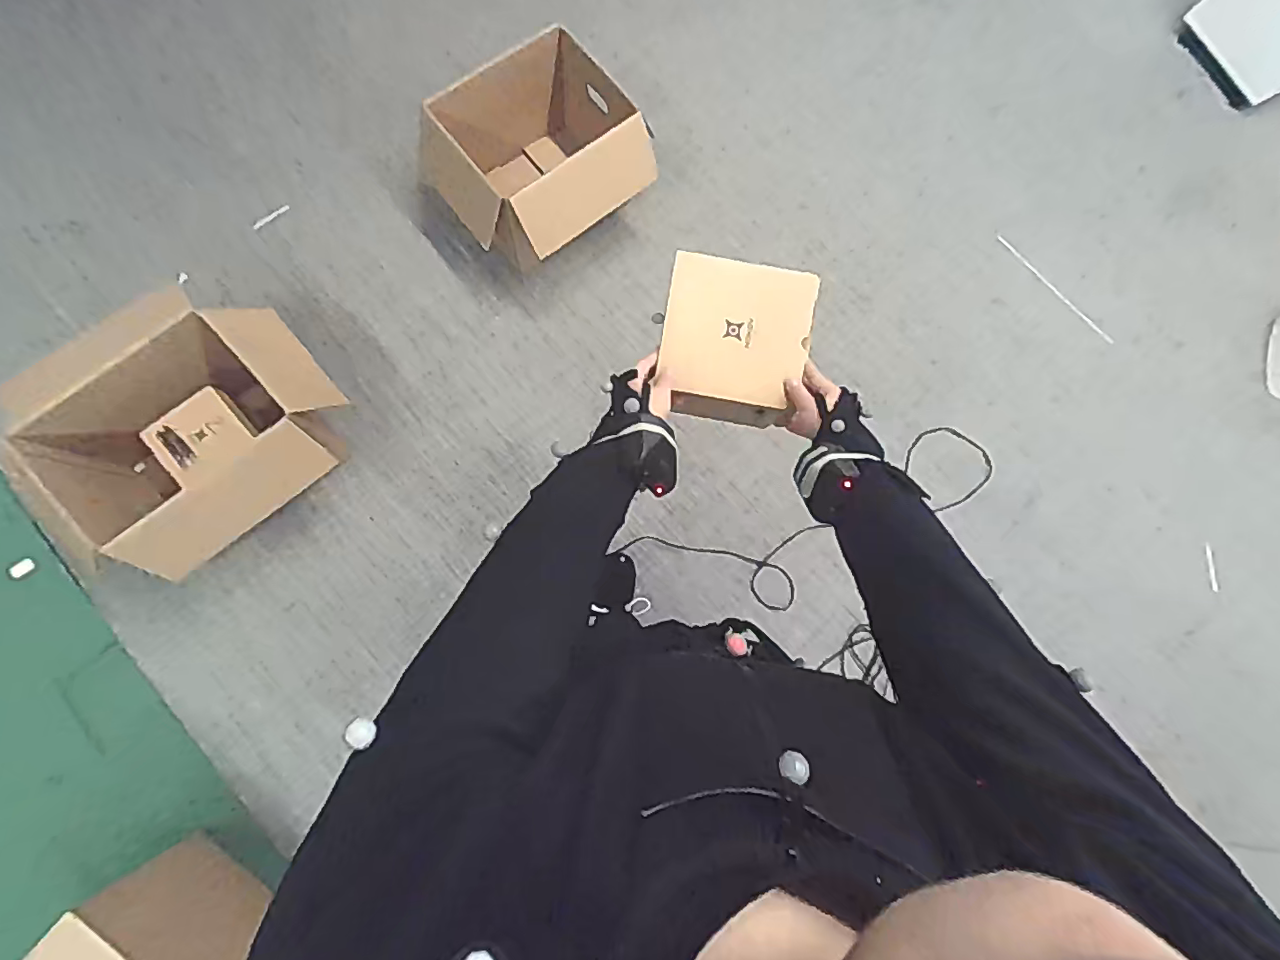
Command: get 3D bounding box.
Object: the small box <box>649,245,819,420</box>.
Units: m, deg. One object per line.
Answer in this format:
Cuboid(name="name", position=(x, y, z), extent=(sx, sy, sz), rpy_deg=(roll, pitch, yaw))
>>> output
Cuboid(name="small box", position=(0.109, -0.178, 0.705), extent=(0.179, 0.176, 0.168), rpy_deg=(10, 89, -1))
